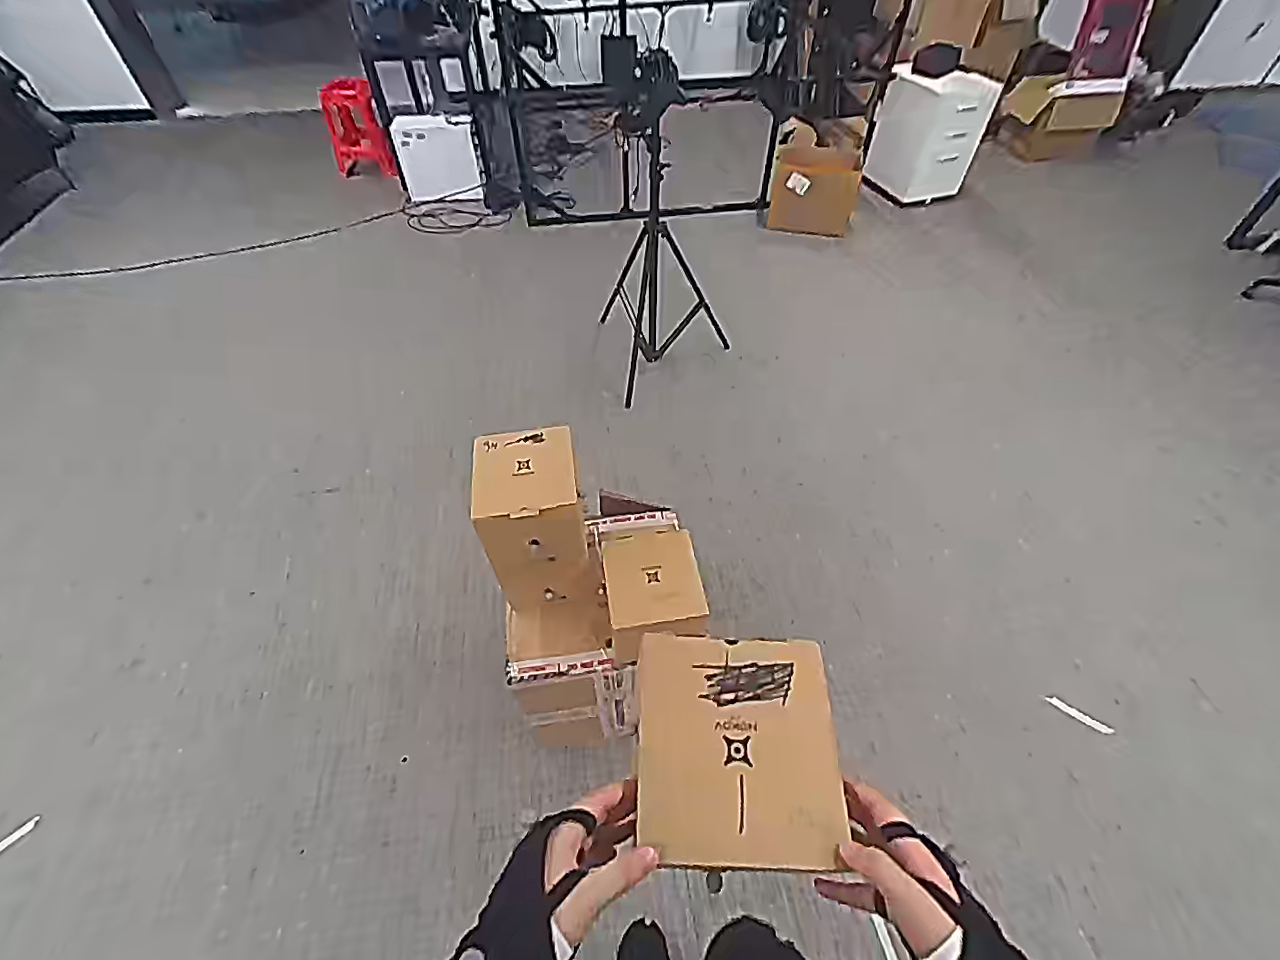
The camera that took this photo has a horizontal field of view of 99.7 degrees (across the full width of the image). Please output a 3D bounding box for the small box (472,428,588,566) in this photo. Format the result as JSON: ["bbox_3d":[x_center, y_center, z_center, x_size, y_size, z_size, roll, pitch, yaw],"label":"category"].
[{"bbox_3d":[-0.187,0.037,0.943,0.168,0.176,0.179,-8,53,-4],"label":"small box"}]

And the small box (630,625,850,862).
[{"bbox_3d":[0.078,0.257,0.521,0.168,0.176,0.179,2,54,-1],"label":"small box"}]

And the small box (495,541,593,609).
[{"bbox_3d":[-0.190,0.132,1.077,0.168,0.176,0.179,-10,53,-5],"label":"small box"}]
